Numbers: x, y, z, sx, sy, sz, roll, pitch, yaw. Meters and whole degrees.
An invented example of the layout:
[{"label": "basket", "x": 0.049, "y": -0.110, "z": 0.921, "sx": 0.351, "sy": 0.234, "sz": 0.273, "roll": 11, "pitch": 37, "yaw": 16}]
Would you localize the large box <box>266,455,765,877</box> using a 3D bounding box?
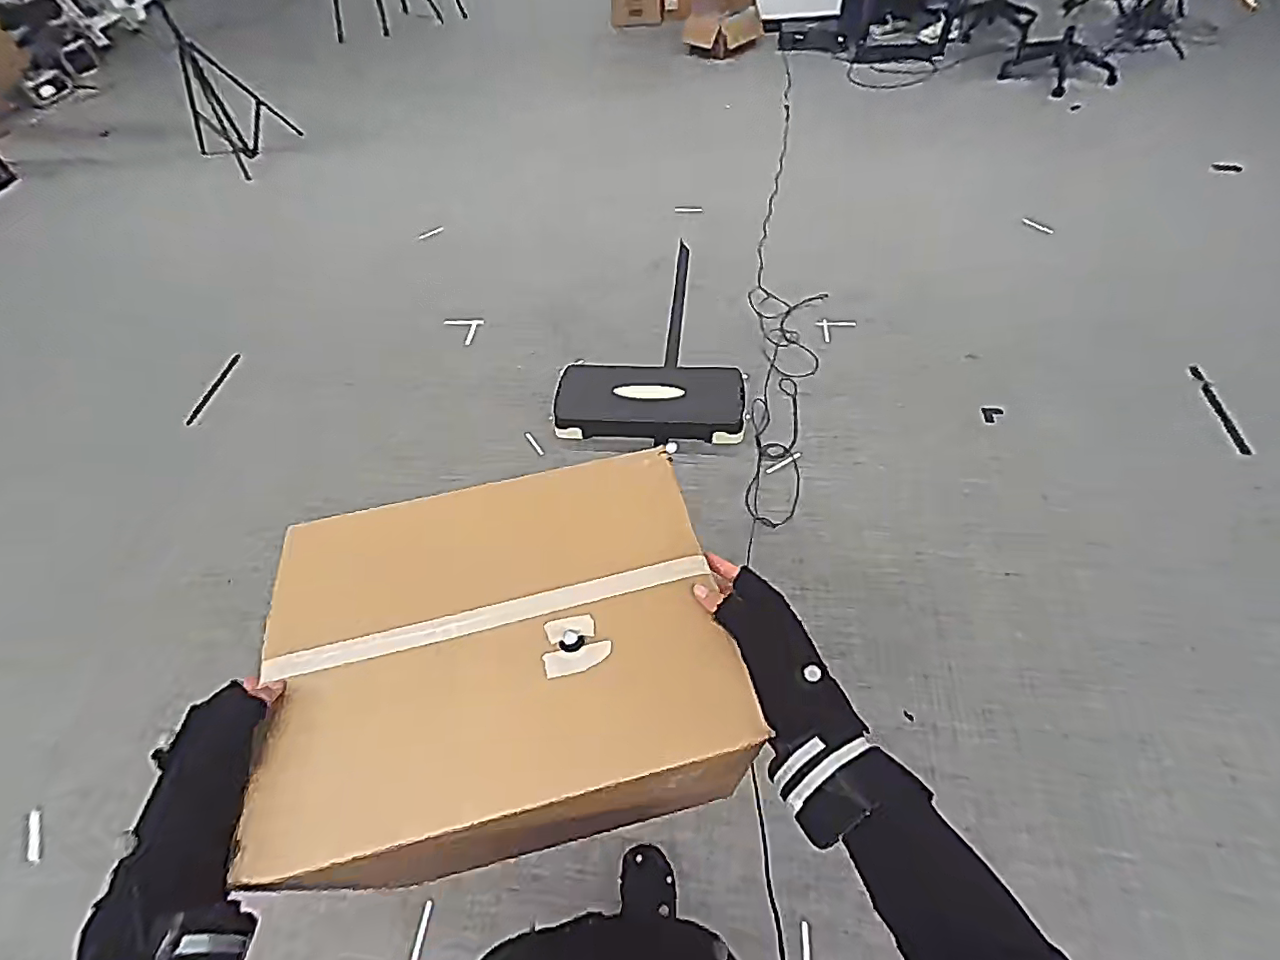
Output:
[{"label": "large box", "x": -0.116, "y": 0.218, "z": 0.628, "sx": 0.408, "sy": 0.320, "sz": 0.320, "roll": -11, "pitch": 53, "yaw": -6}]
